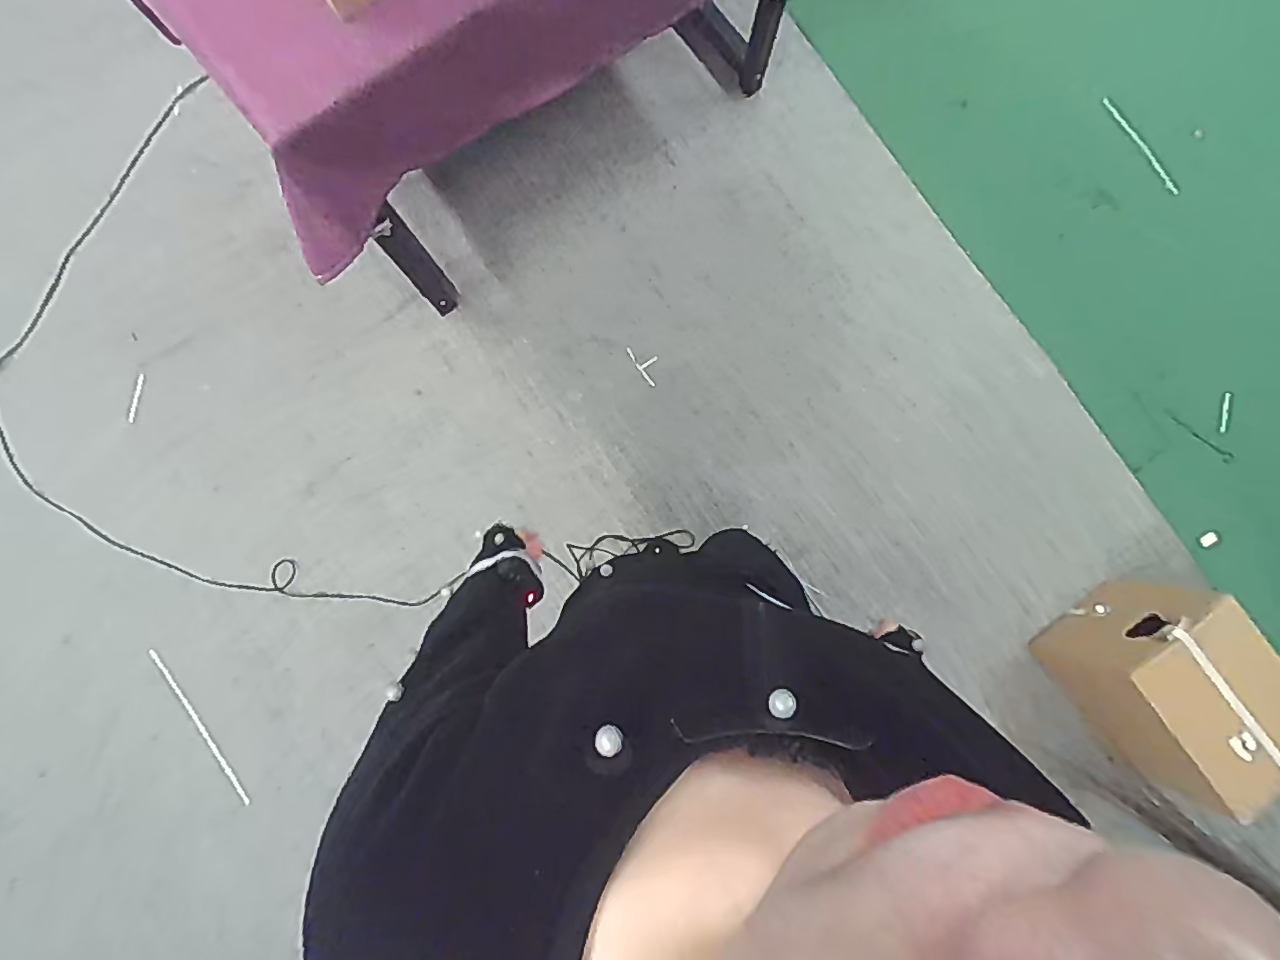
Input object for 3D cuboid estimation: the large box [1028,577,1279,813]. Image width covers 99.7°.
[{"bbox_3d":[1.315,0.504,1.364,0.320,0.320,0.408,-36,89,-4],"label":"large box"}]
